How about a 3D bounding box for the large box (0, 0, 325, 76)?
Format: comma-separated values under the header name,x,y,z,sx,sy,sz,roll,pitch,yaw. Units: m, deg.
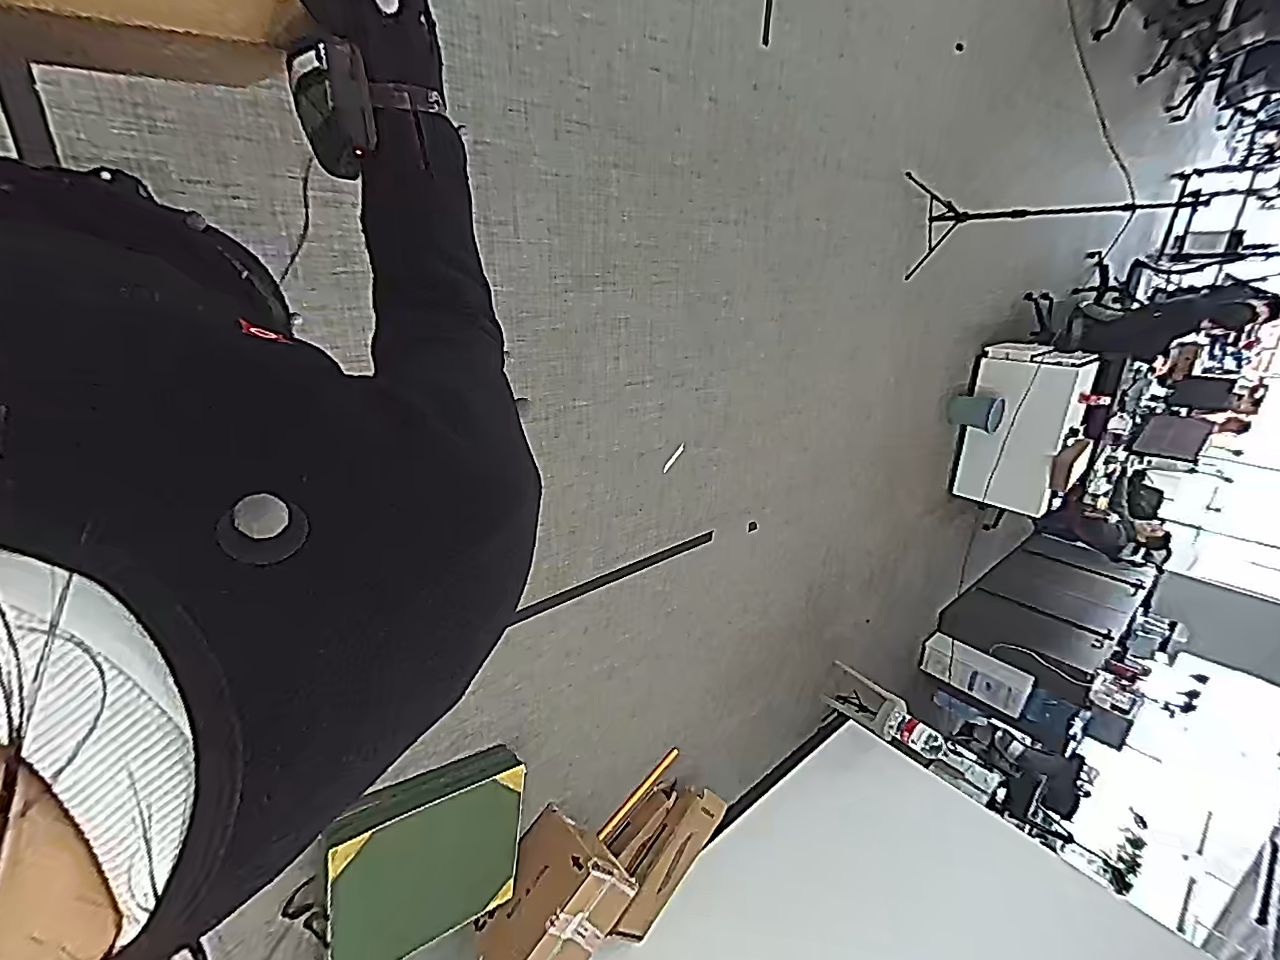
name,x,y,z,sx,sy,sz,roll,pitch,yaw
large box,-0.444,-0.417,0.257,0.408,0.320,0.320,-21,129,-36
